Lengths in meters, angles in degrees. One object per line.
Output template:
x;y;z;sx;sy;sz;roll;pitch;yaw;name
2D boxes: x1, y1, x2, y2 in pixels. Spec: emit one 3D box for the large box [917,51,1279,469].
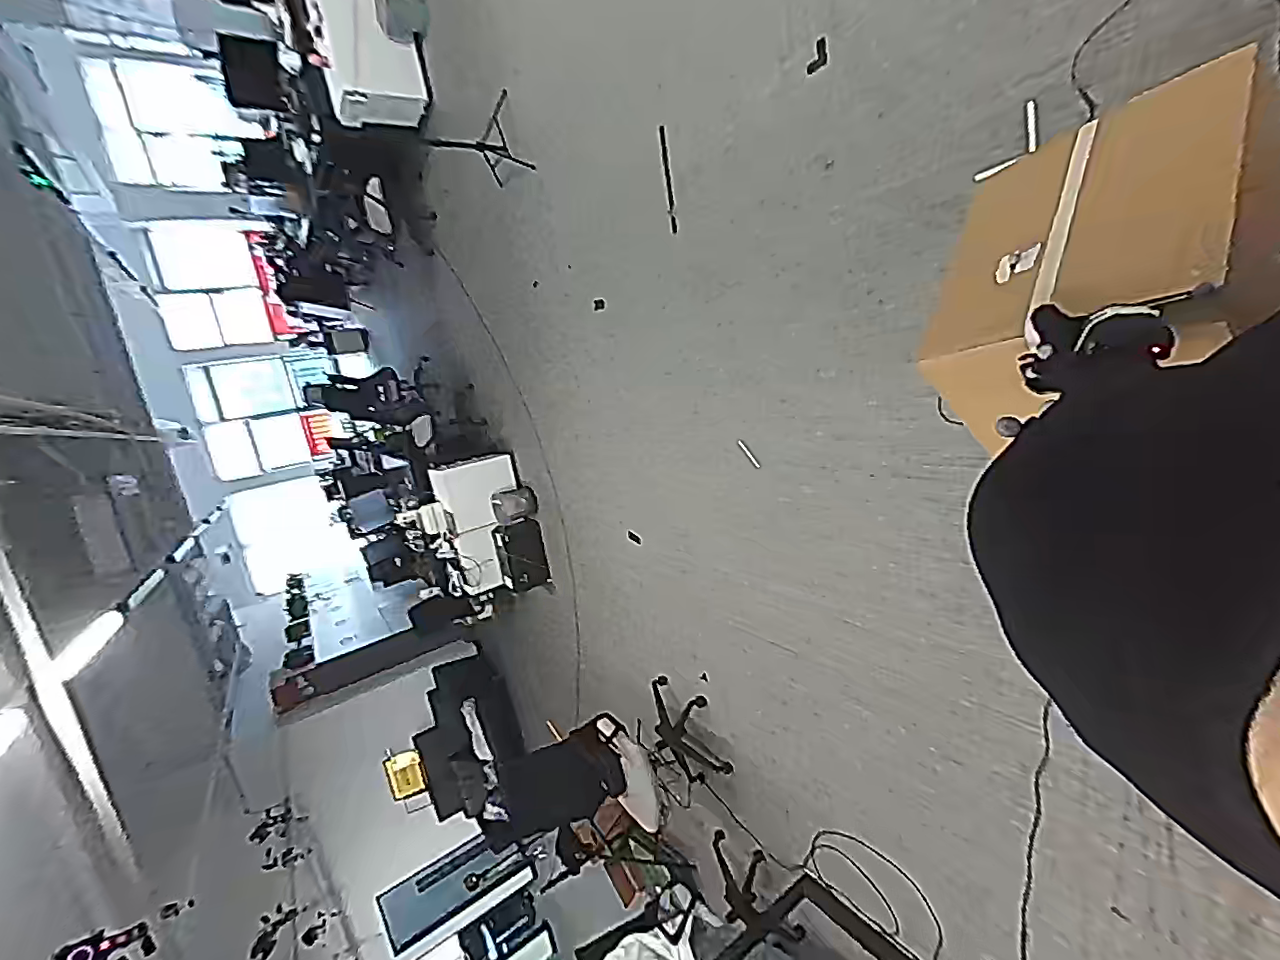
0.674;-0.270;0.782;0.320;0.408;0.320;35;160;-23;large box
